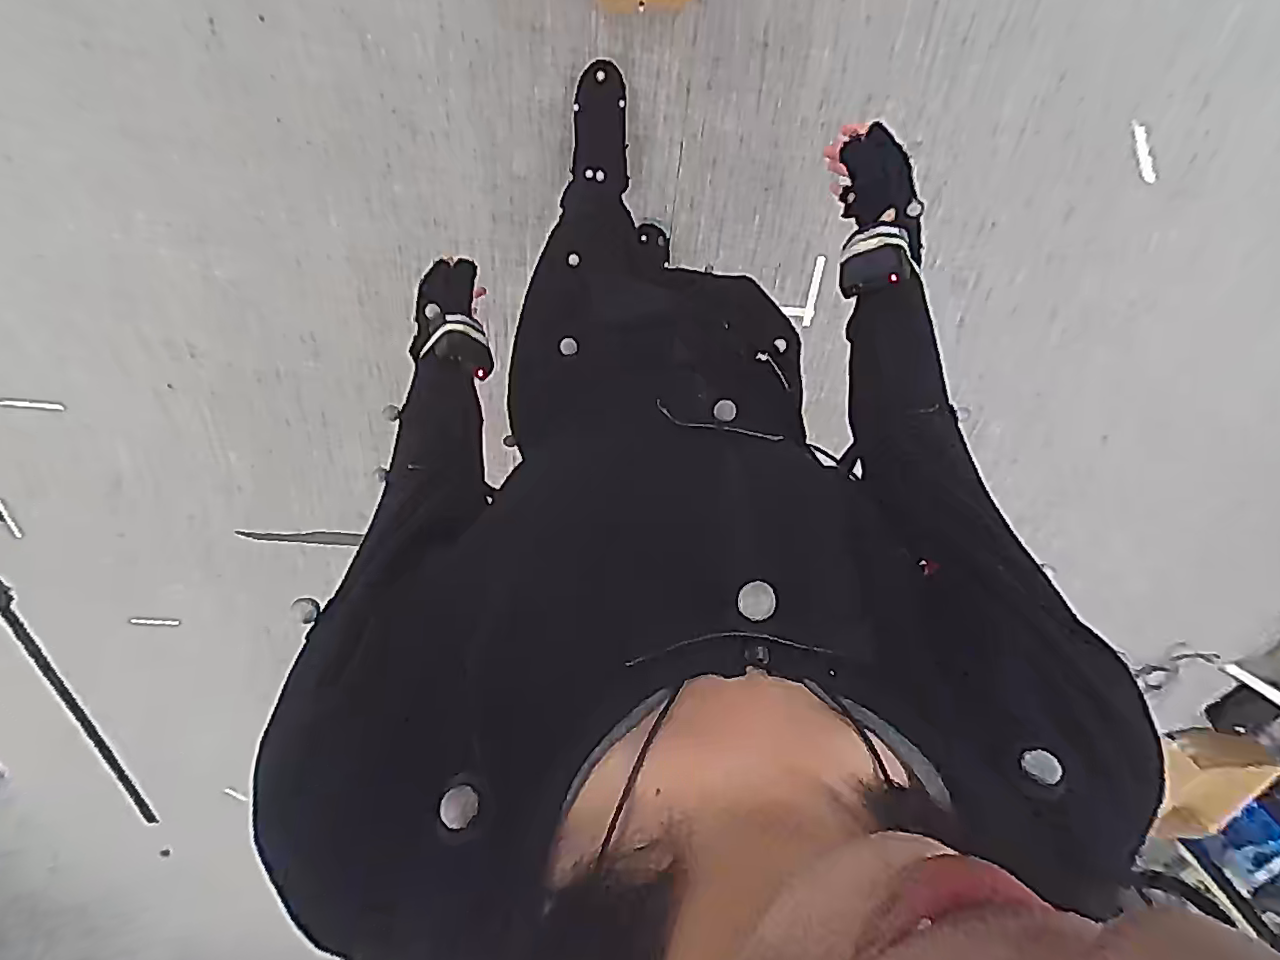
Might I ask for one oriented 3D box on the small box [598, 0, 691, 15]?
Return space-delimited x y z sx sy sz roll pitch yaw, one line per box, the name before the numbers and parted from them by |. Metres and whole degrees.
small box | 0.009 -0.954 0.965 0.179 0.176 0.168 -2 121 -1
